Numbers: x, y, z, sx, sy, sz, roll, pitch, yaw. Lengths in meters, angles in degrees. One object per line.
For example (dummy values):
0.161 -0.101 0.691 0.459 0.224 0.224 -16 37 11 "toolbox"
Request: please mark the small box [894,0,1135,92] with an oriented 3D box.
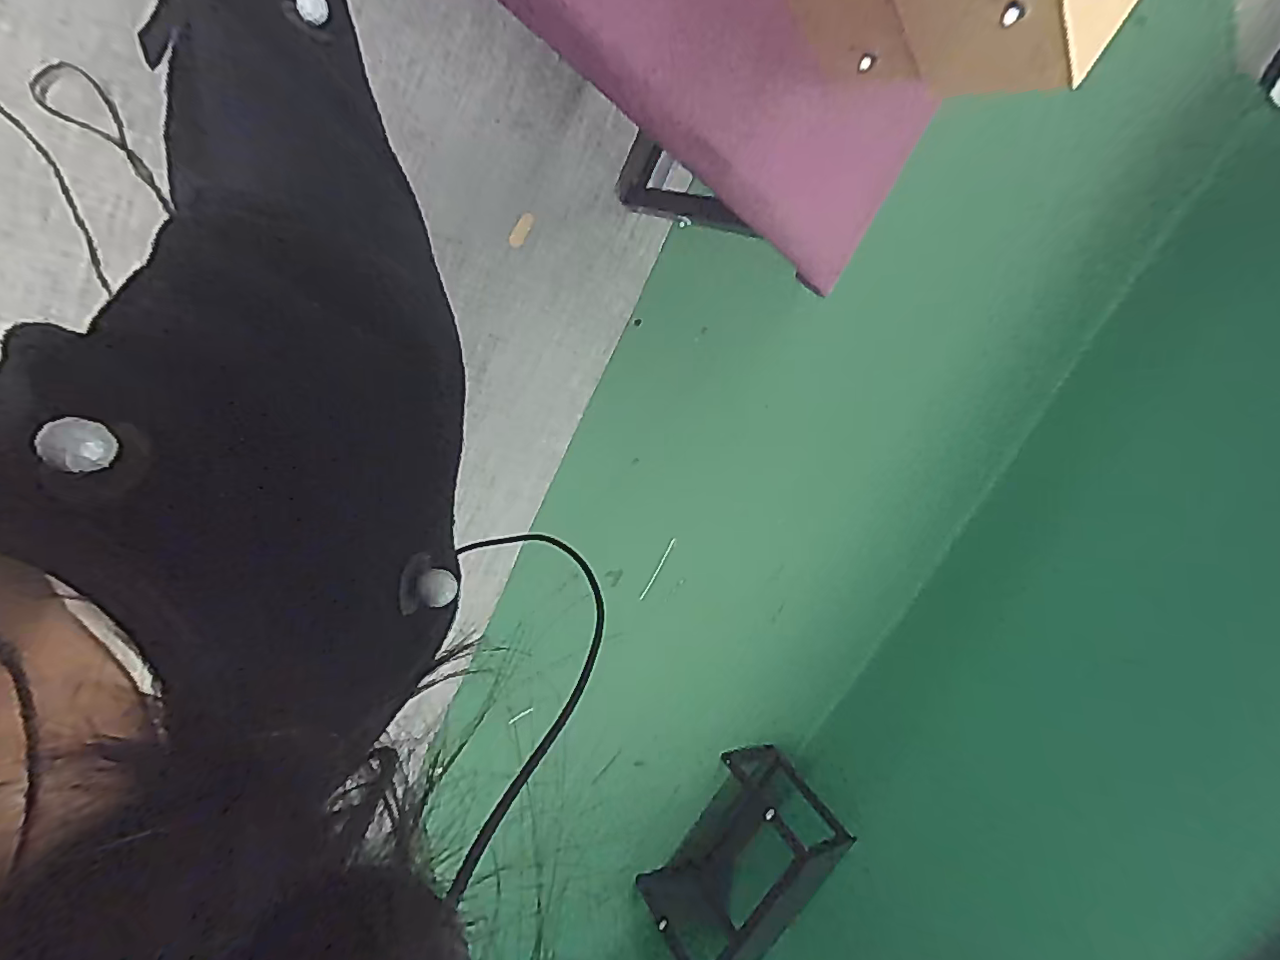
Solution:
0.384 -0.526 0.541 0.179 0.176 0.168 26 101 -43 "small box"
